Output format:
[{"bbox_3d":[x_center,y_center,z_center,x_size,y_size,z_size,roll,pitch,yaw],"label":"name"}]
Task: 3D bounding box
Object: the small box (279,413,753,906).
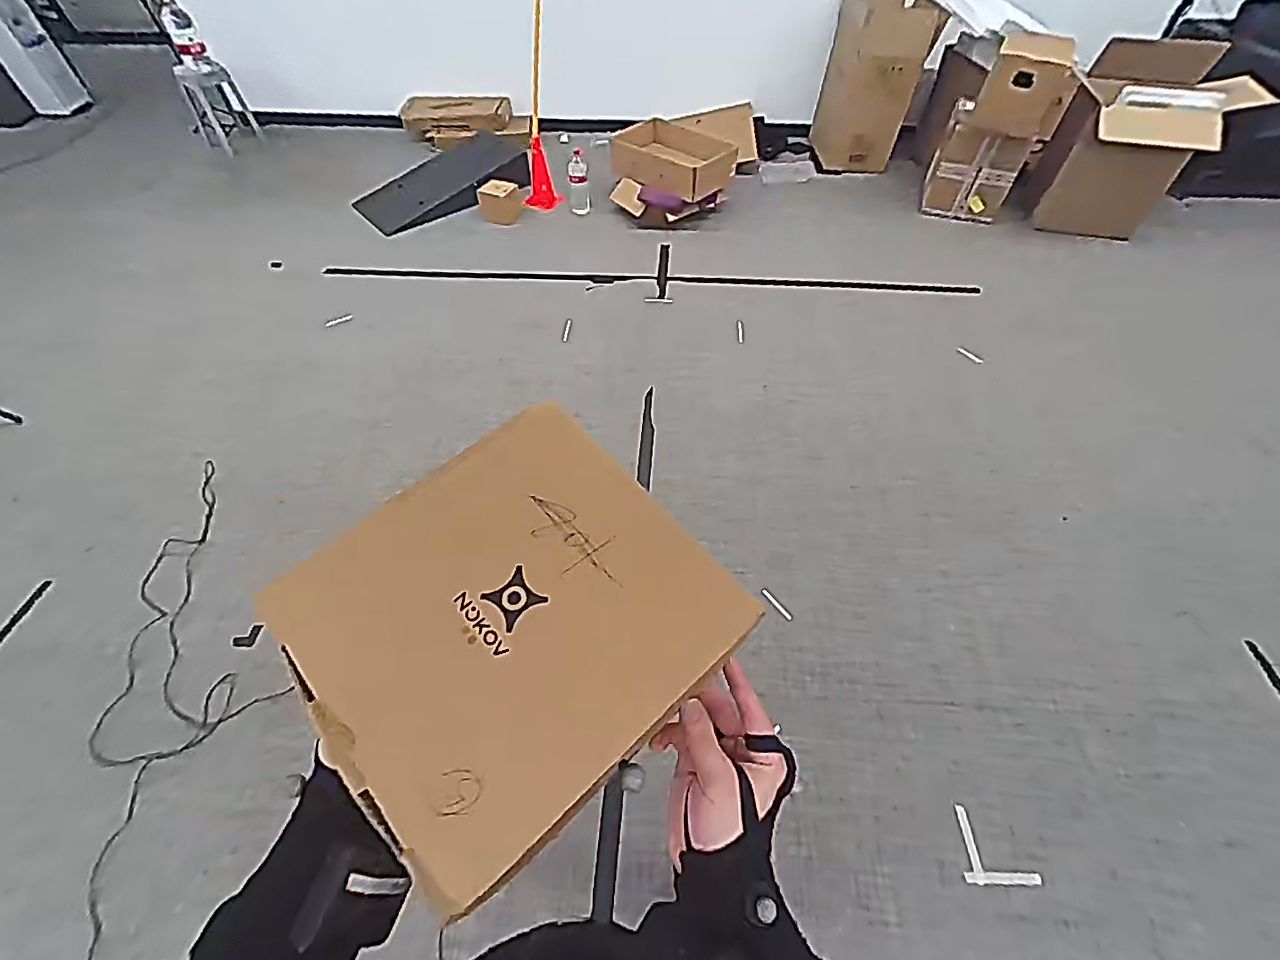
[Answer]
[{"bbox_3d":[-0.060,0.101,0.332,0.179,0.176,0.168,-39,69,-19],"label":"small box"}]
